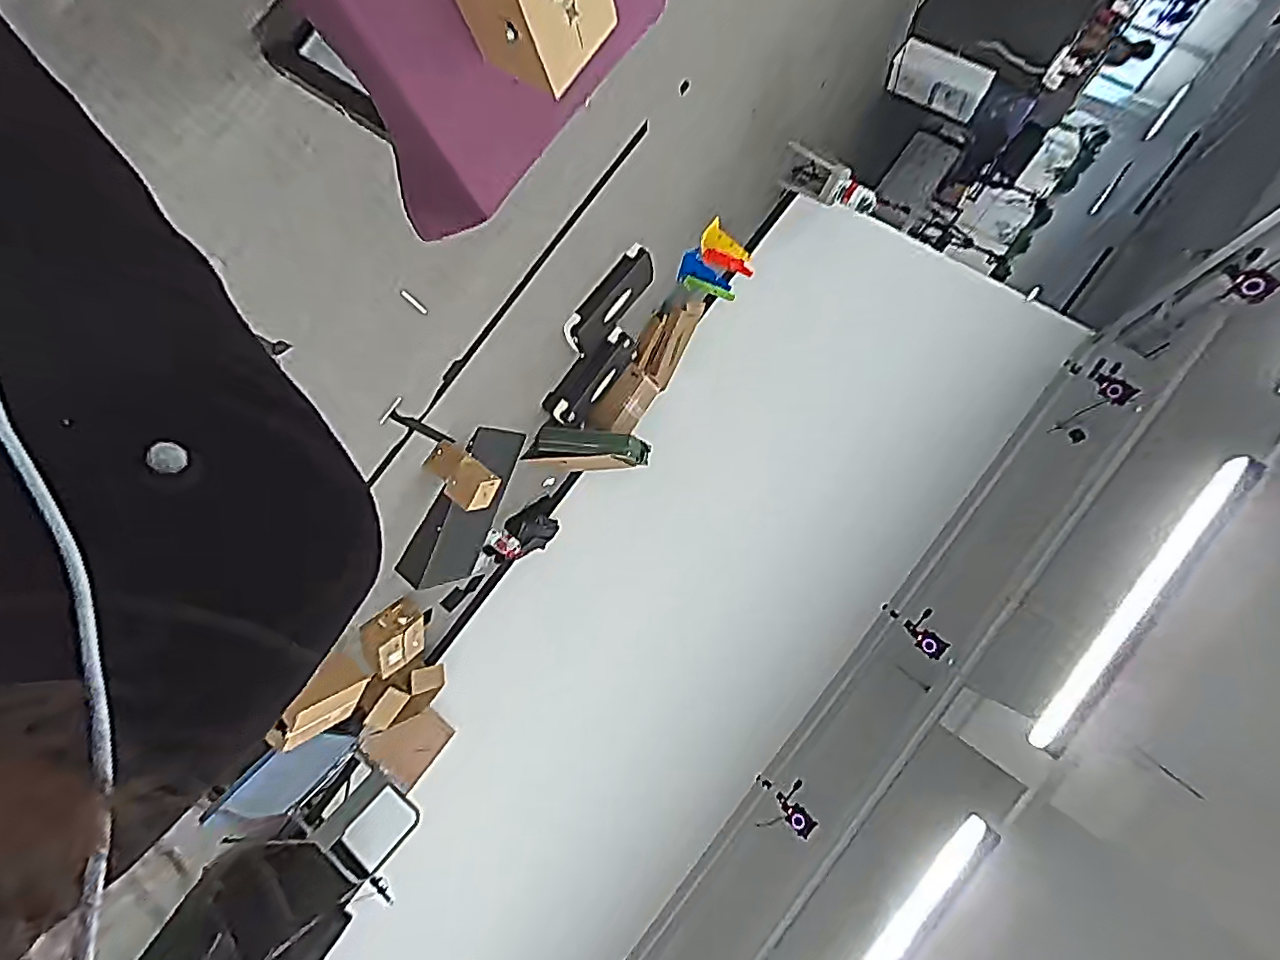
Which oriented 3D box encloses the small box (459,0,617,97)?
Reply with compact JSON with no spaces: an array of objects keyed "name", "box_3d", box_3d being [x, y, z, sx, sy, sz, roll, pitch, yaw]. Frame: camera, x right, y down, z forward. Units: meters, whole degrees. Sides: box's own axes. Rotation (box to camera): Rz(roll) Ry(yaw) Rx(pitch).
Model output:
[{"name":"small box","box_3d":[-0.164,-0.738,0.809,0.168,0.176,0.179,-53,165,-2]}]
